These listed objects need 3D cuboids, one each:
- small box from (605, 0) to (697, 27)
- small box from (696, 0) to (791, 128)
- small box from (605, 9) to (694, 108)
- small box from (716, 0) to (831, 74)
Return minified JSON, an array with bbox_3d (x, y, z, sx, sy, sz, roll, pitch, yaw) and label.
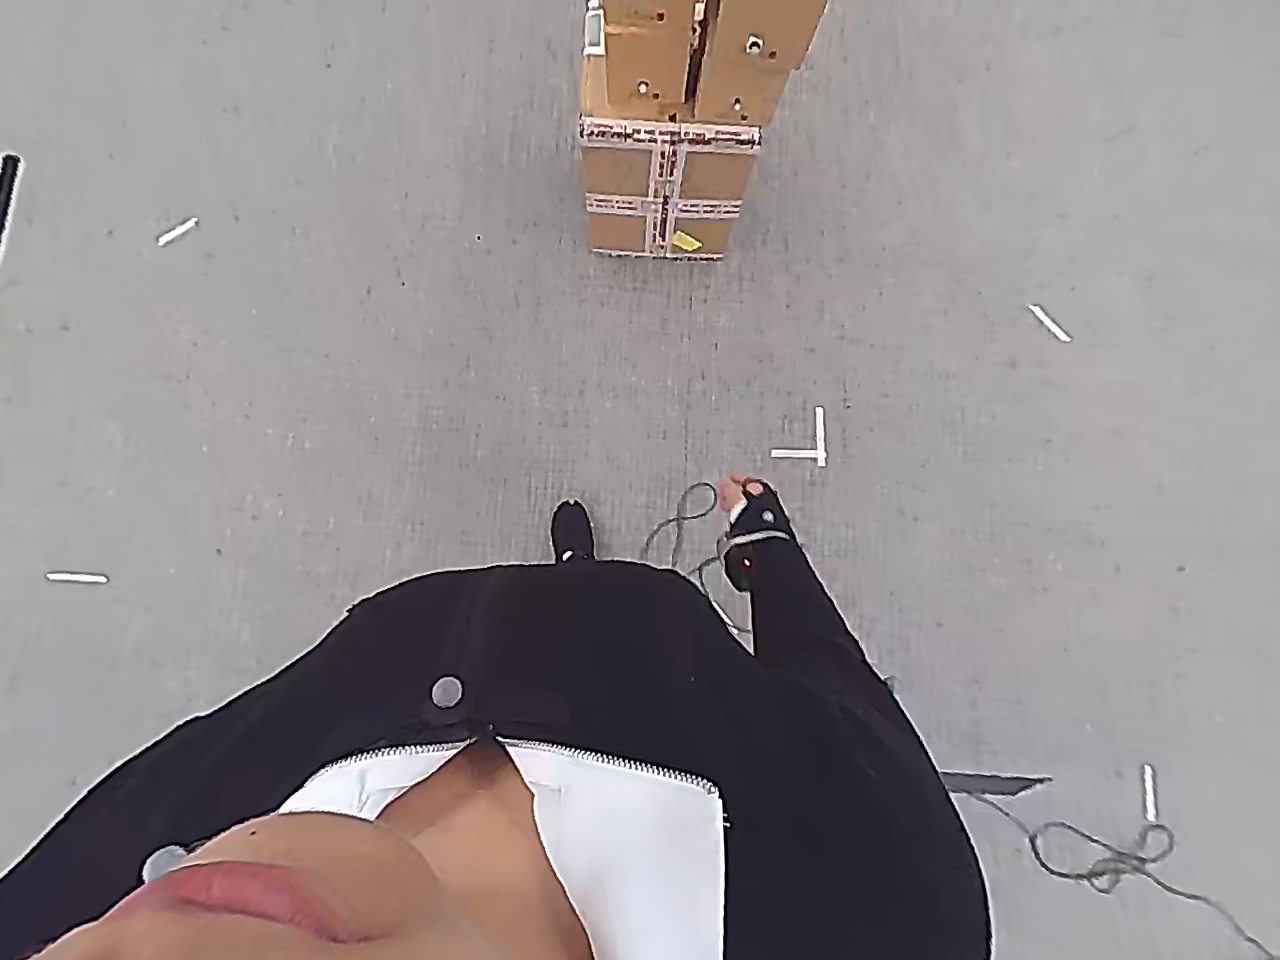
[{"bbox_3d":[0.023,-0.918,0.914,0.168,0.176,0.179,3,85,0],"label":"small box"},{"bbox_3d":[0.207,-0.850,1.078,0.168,0.176,0.179,3,84,-2],"label":"small box"},{"bbox_3d":[0.017,-0.889,1.077,0.168,0.176,0.179,1,85,0],"label":"small box"},{"bbox_3d":[0.226,-0.844,0.916,0.168,0.176,0.179,4,84,-1],"label":"small box"}]
